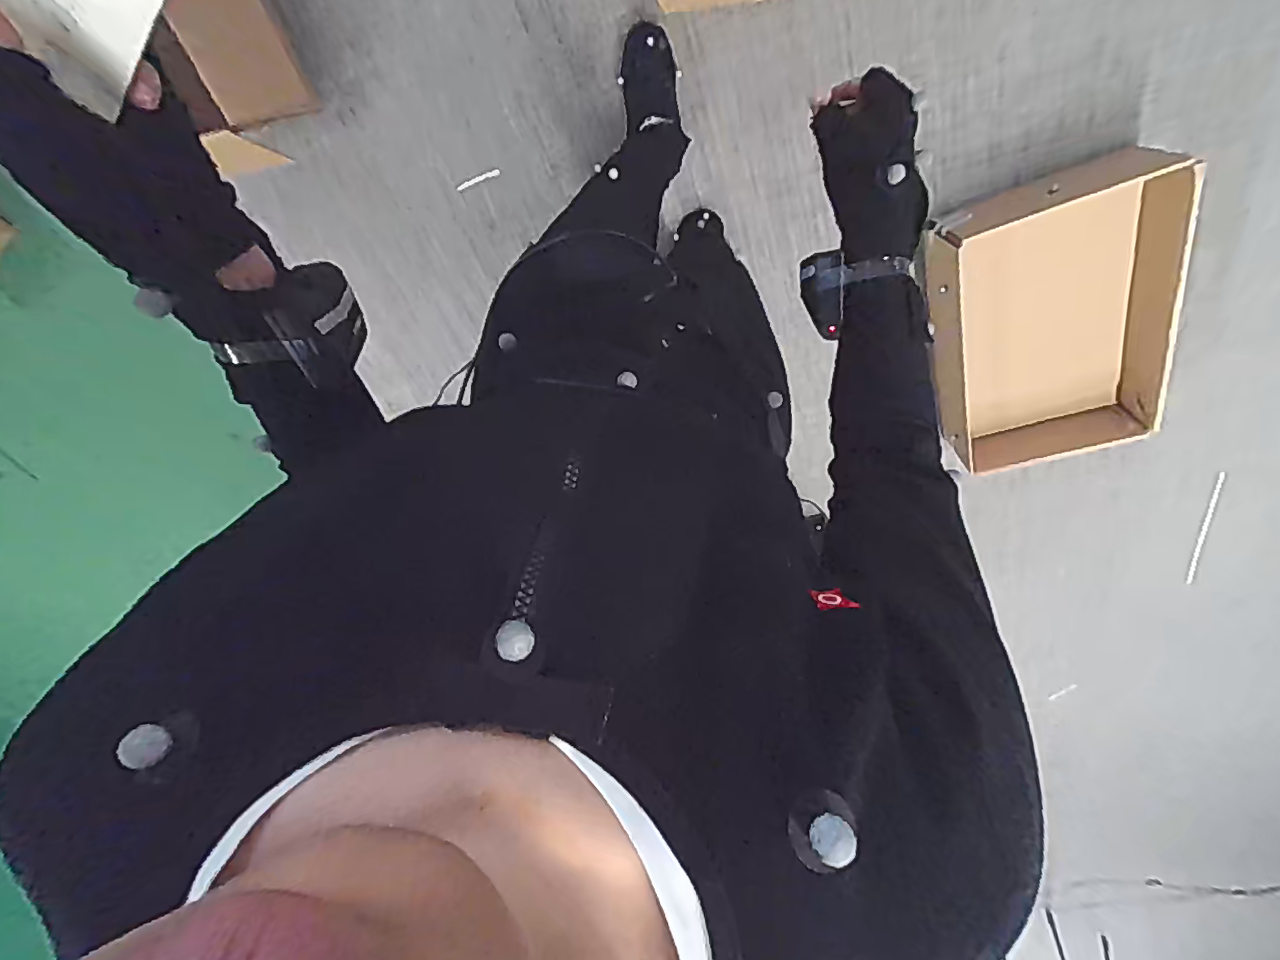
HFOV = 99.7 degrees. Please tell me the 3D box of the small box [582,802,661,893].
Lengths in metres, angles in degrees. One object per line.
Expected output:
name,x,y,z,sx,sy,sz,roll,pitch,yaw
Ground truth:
small box,-0.042,1.015,1.494,0.168,0.176,0.179,-12,126,14
